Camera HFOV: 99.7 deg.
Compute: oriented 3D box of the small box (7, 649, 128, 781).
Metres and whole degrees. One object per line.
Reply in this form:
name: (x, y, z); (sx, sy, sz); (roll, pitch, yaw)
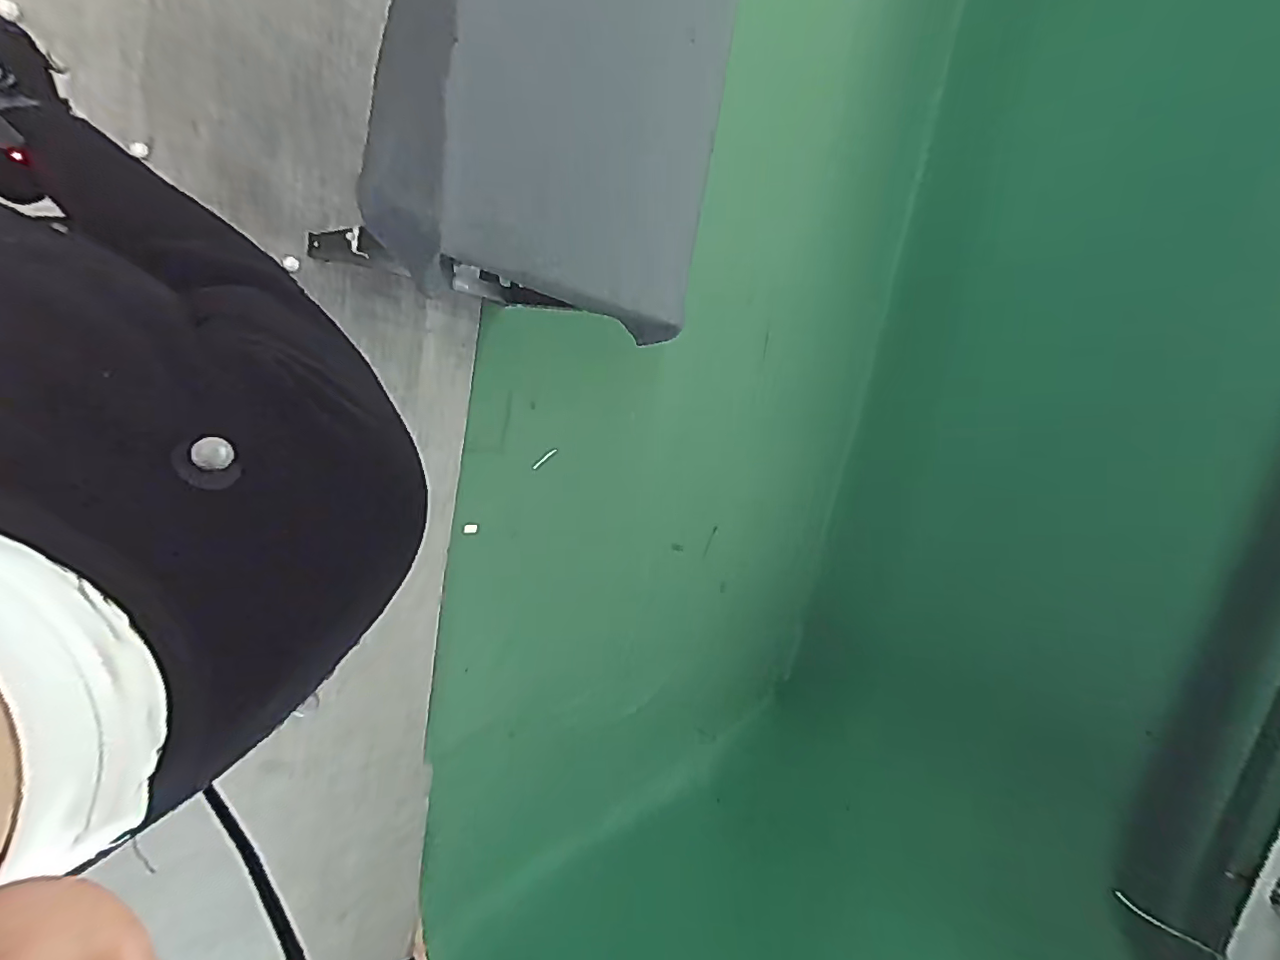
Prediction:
small box: (-1.233, 0.495, 1.165); (0.168, 0.176, 0.179); (2, 104, -51)
